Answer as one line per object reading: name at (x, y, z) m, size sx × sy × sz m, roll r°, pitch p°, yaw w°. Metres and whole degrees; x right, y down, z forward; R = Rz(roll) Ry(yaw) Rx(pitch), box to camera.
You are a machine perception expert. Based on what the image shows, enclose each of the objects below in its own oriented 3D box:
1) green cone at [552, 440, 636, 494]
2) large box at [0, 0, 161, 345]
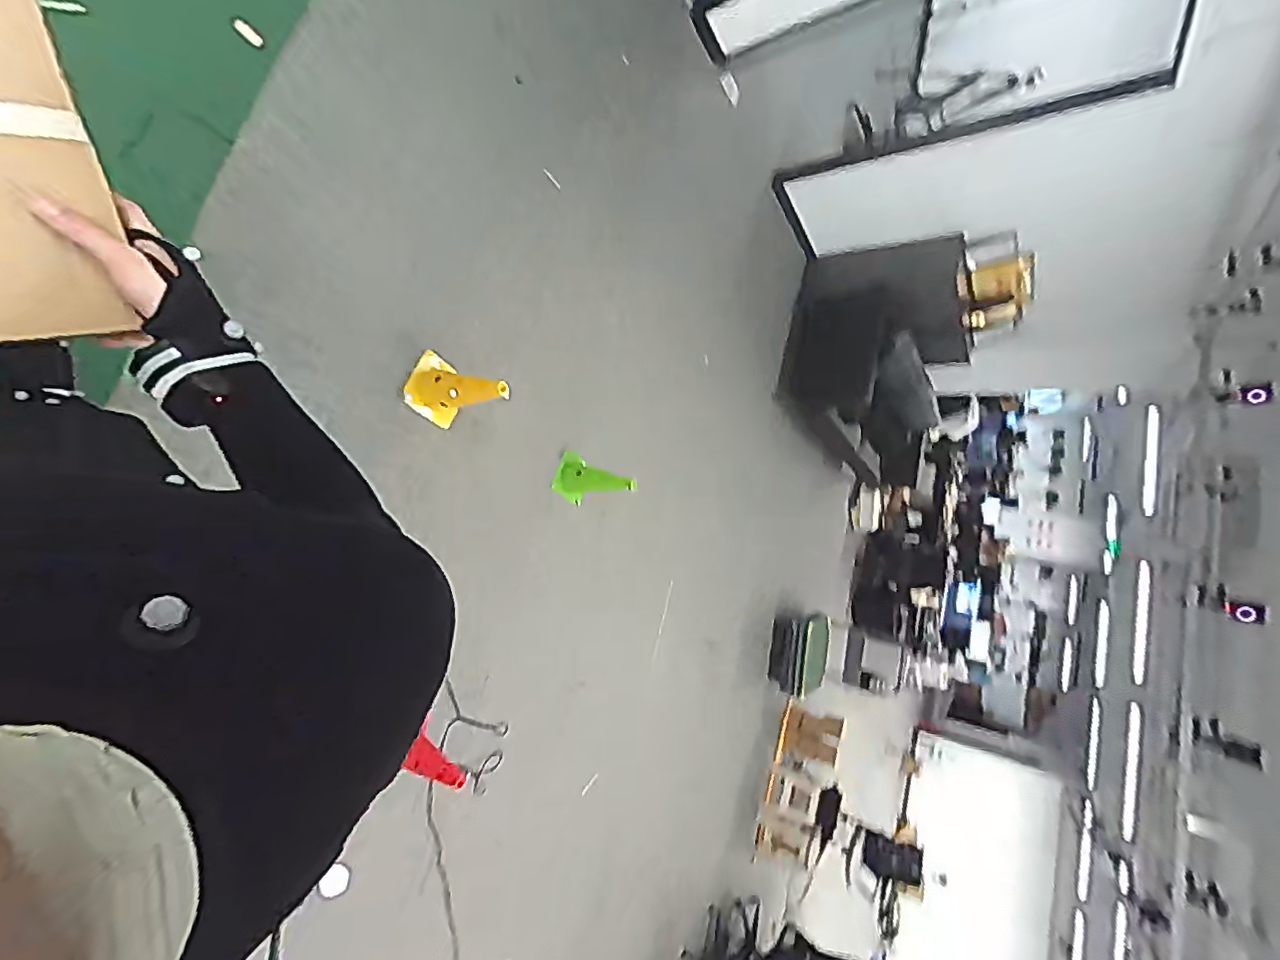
green cone at (-0.167, -0.042, 2.314) m, size 0.202 × 0.368 × 0.200 m, roll 37°, pitch 66°, yaw -48°
large box at (-0.695, -0.249, 0.406) m, size 0.408 × 0.320 × 0.320 m, roll -24°, pitch 117°, yaw -45°
